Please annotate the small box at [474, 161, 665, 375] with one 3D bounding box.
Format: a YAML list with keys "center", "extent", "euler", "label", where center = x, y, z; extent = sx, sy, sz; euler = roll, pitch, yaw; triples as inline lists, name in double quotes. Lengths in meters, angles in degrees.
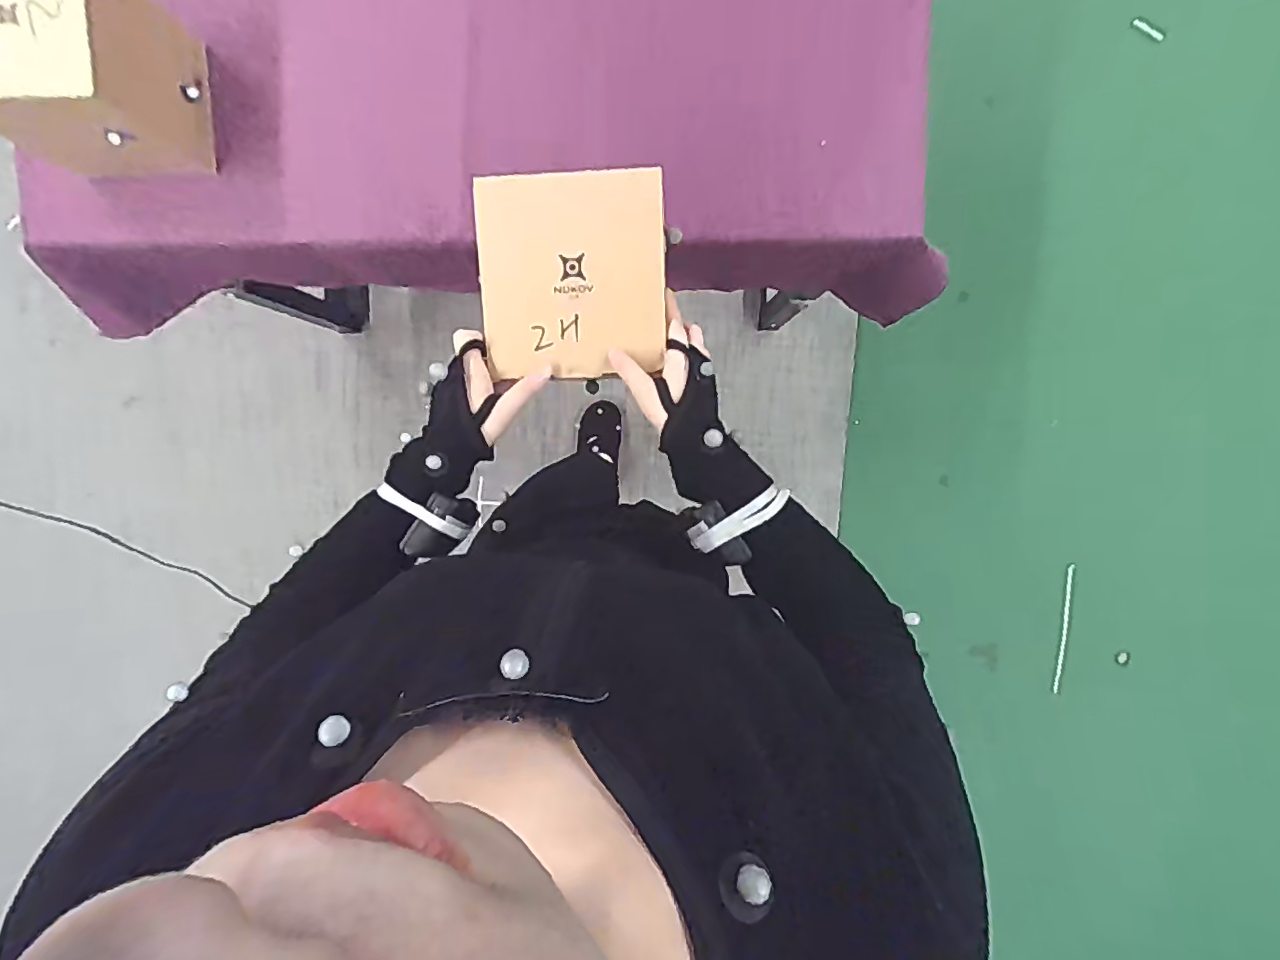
- center: [-0.059, -0.200, 0.557]
  extent: [0.168, 0.176, 0.179]
  euler: [-1, 101, 3]
  label: "small box"
